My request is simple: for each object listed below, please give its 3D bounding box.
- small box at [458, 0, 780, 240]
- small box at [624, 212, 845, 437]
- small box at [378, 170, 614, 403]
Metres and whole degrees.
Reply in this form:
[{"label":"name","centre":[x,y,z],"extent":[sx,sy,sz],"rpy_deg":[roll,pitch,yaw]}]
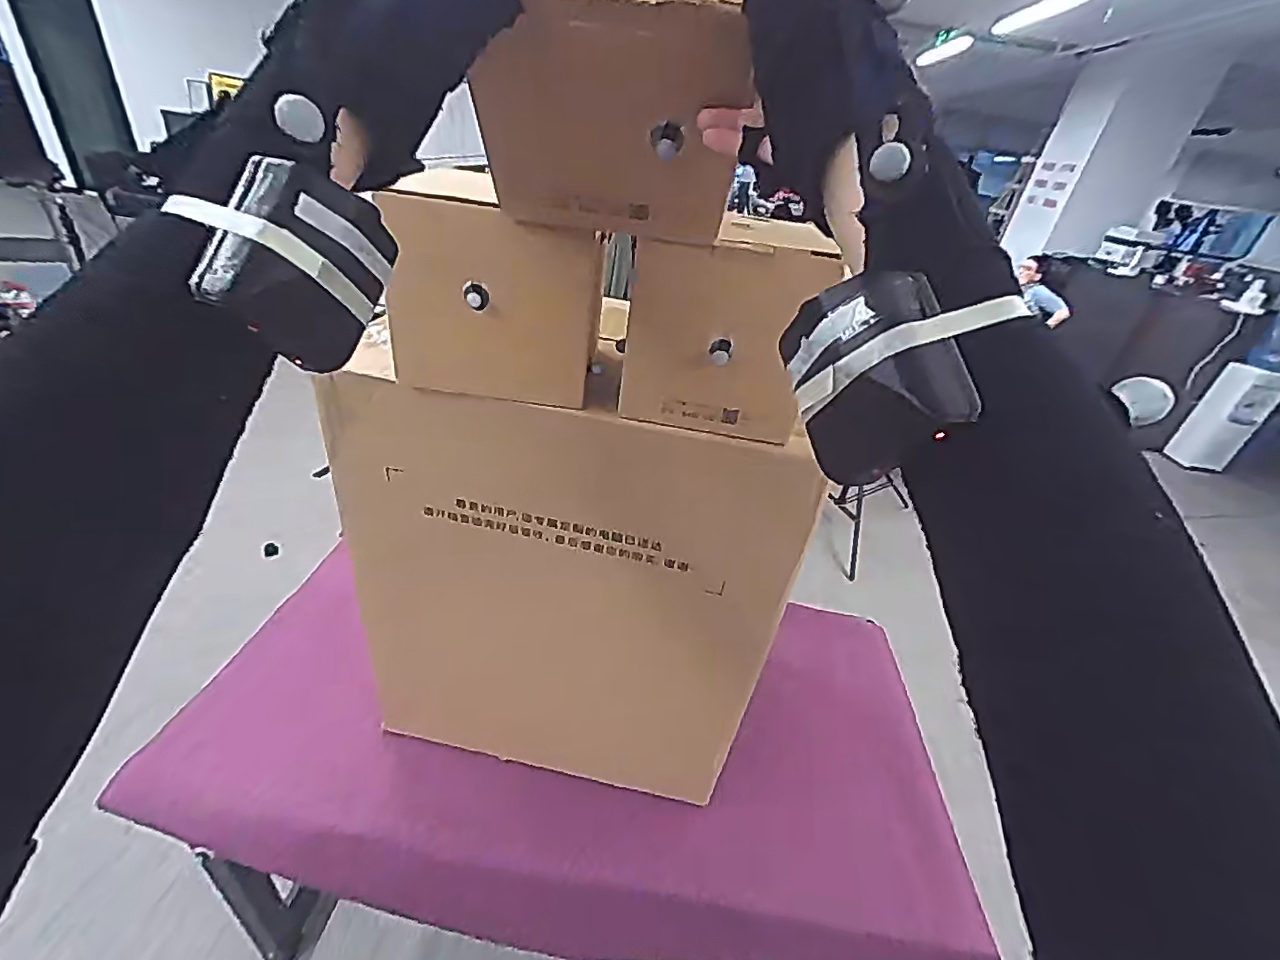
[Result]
[{"label":"small box","centre":[-0.006,-0.294,0.365],"extent":[0.168,0.176,0.179],"rpy_deg":[7,72,-2]},{"label":"small box","centre":[0.081,-0.161,0.535],"extent":[0.168,0.176,0.179],"rpy_deg":[10,34,1]},{"label":"small box","centre":[-0.123,-0.189,0.528],"extent":[0.179,0.176,0.168],"rpy_deg":[7,33,-3]}]
